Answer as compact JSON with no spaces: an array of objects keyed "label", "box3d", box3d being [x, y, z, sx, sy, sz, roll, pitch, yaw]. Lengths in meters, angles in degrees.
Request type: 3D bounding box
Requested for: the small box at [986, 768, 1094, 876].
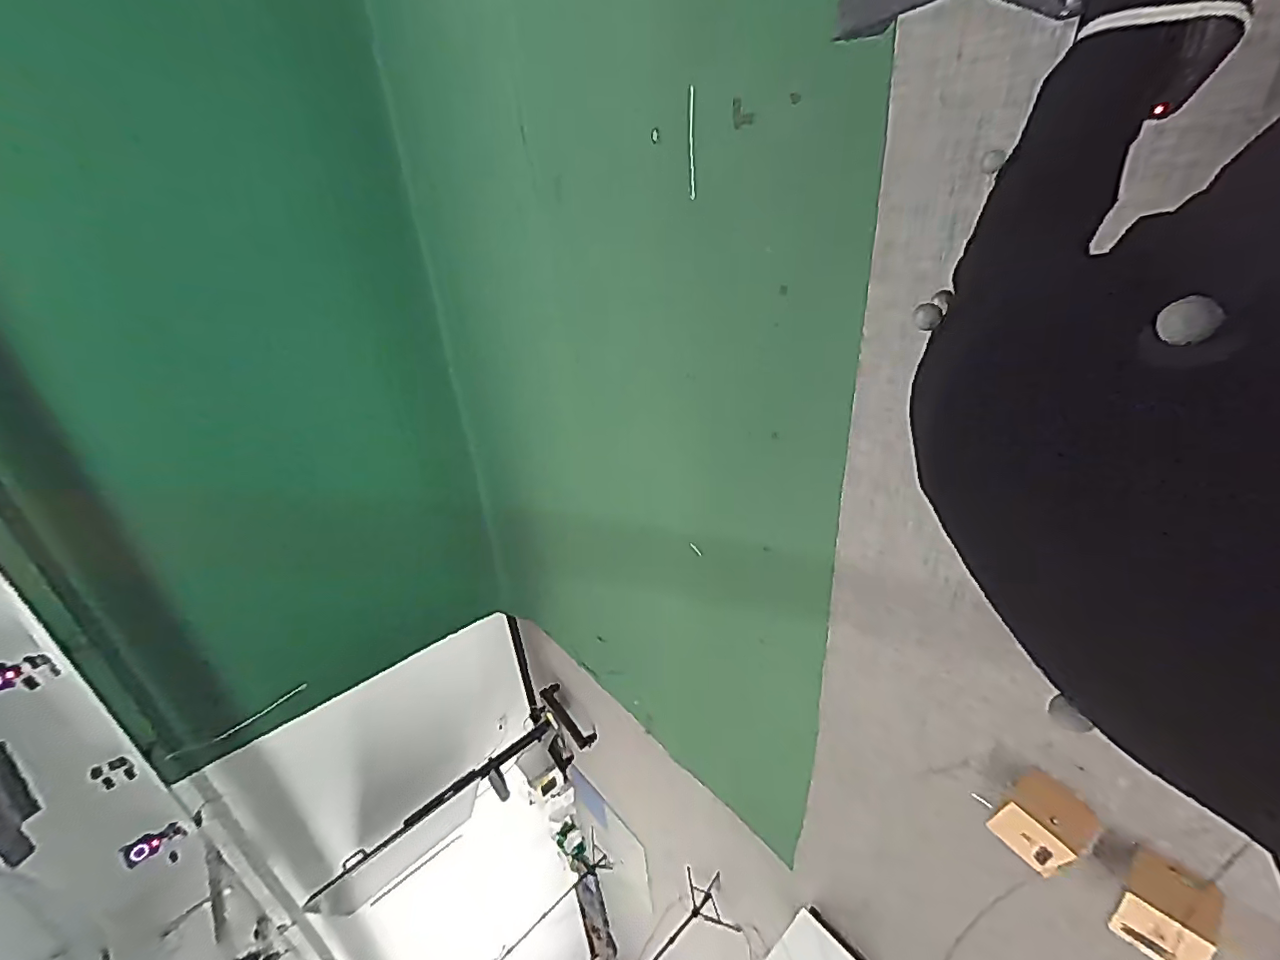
[{"label":"small box","box3d":[1.164,0.988,1.572,0.179,0.176,0.168,39,138,35]}]
